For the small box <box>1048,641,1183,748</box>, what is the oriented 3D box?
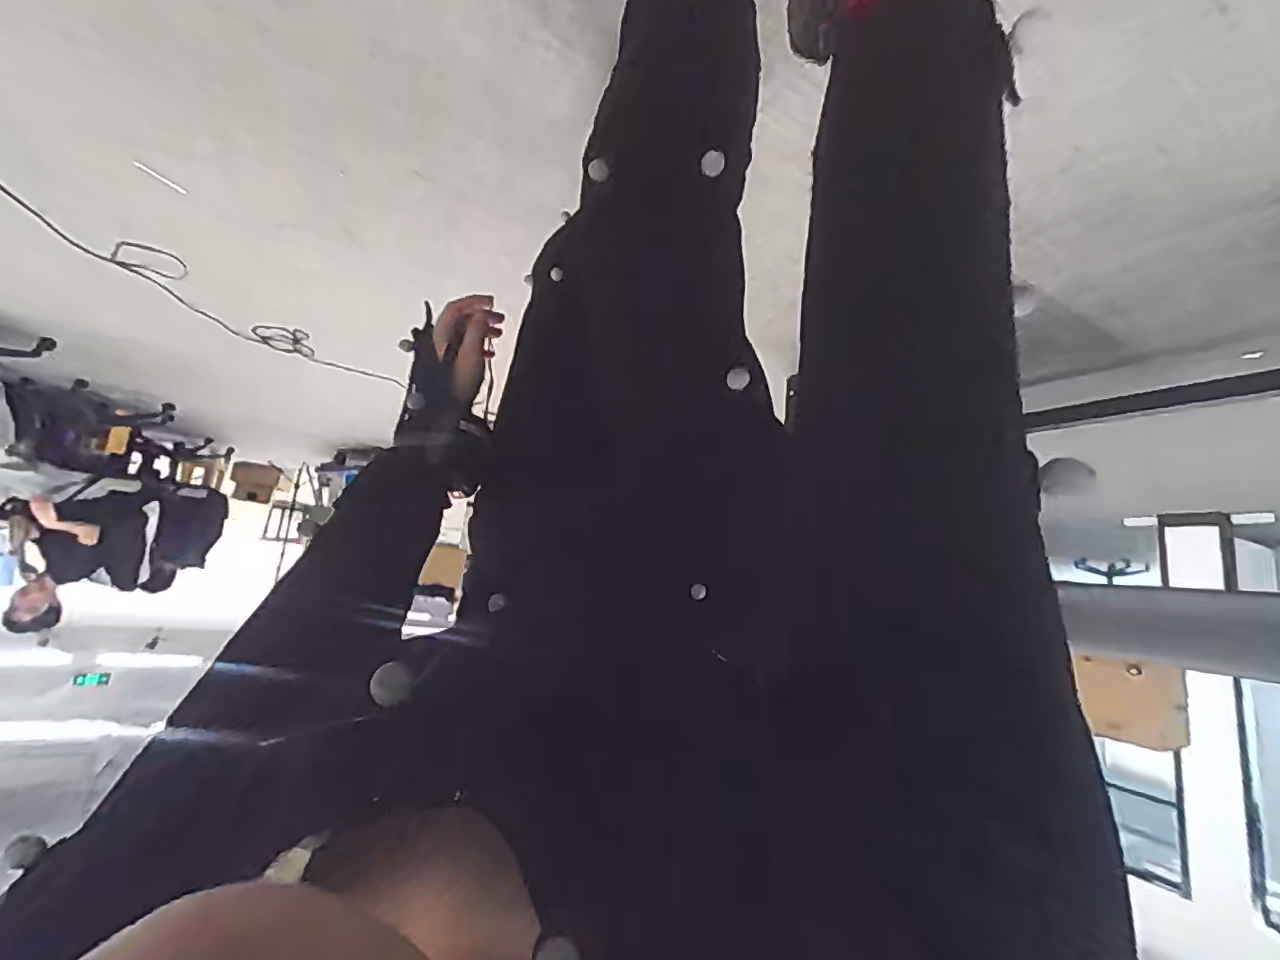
[{"bbox_3d":[0.951,0.420,1.087,0.179,0.176,0.168,11,169,-32],"label":"small box"}]
